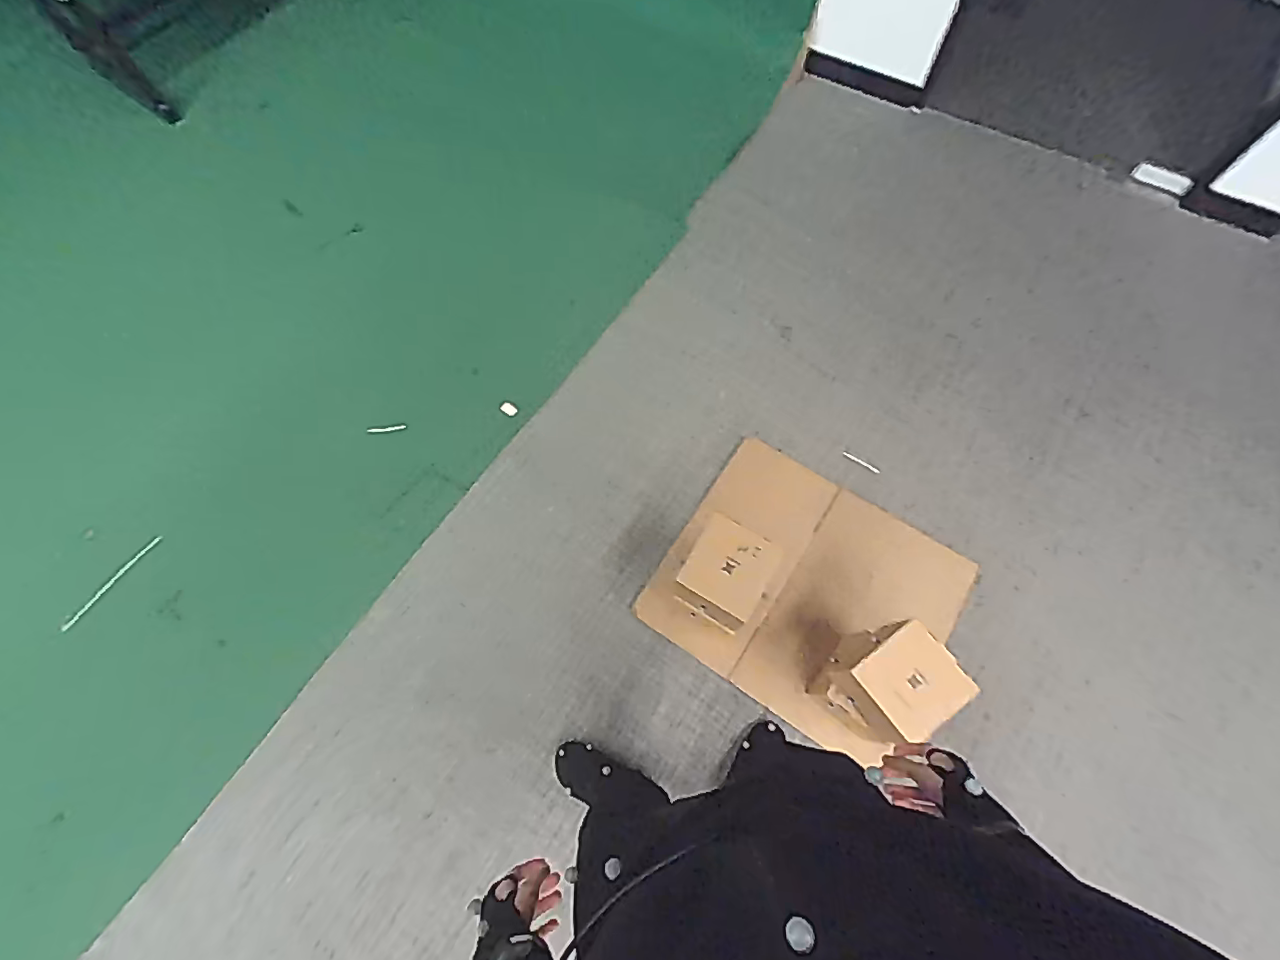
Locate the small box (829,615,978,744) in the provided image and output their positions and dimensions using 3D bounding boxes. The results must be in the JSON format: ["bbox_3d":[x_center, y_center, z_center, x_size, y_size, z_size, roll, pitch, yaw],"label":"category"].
[{"bbox_3d":[0.513,0.393,1.081,0.179,0.176,0.168,-33,72,-10],"label":"small box"}]

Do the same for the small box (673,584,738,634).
[{"bbox_3d":[0.193,0.259,1.323,0.168,0.176,0.179,31,72,13],"label":"small box"}]

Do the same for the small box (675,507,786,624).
[{"bbox_3d":[0.190,0.194,1.172,0.168,0.176,0.179,31,73,12],"label":"small box"}]
